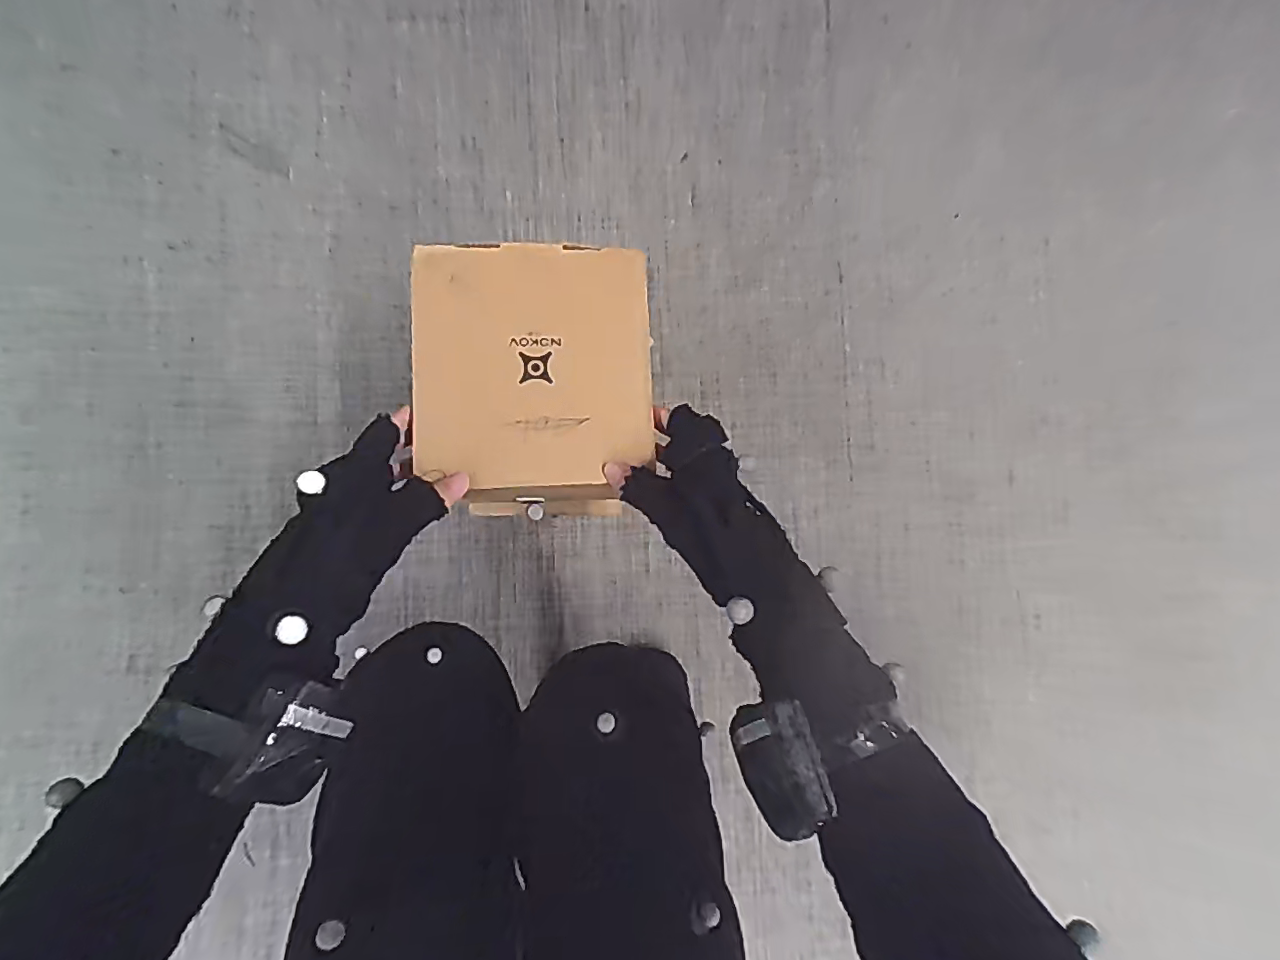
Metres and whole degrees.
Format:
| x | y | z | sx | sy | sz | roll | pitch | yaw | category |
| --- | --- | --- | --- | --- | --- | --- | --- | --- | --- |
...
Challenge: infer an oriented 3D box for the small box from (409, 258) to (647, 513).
| x | y | z | sx | sy | sz | roll | pitch | yaw | category |
| --- | --- | --- | --- | --- | --- | --- | --- | --- | --- |
| -0.088 | -0.066 | 0.462 | 0.168 | 0.176 | 0.179 | -3 | 85 | -6 | small box |

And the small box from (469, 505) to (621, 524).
| x | y | z | sx | sy | sz | roll | pitch | yaw | category |
| --- | --- | --- | --- | --- | --- | --- | --- | --- | --- |
| -0.115 | -0.028 | 0.709 | 0.179 | 0.176 | 0.168 | 0 | 87 | -3 | small box |
